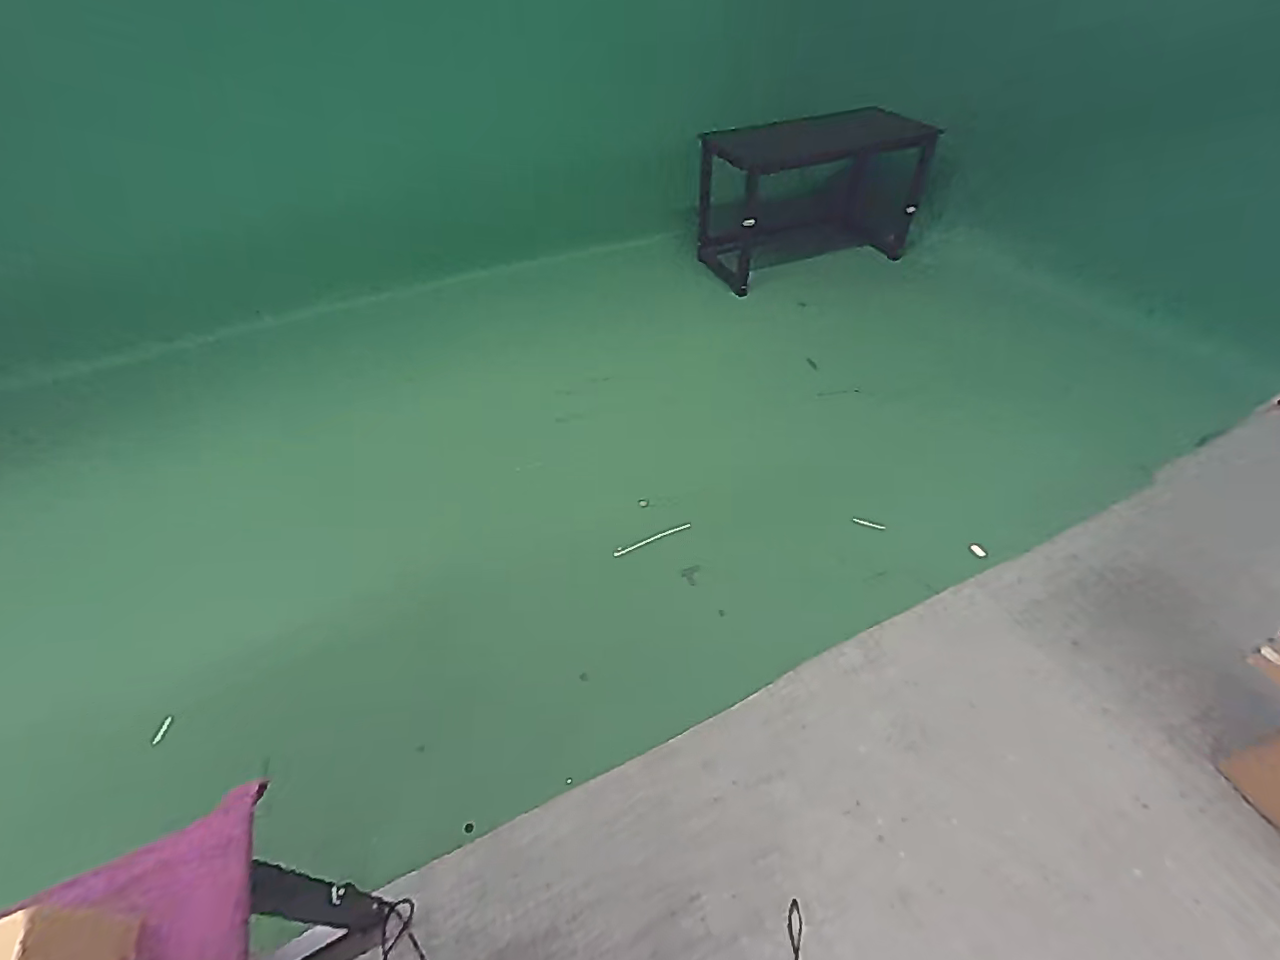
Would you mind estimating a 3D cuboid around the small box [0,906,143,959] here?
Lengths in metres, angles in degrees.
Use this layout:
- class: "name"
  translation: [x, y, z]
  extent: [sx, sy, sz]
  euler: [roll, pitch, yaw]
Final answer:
- class: "small box"
  translation: [-0.707, 0.605, 0.585]
  extent: [0.179, 0.176, 0.168]
  euler: [-20, 50, -14]
